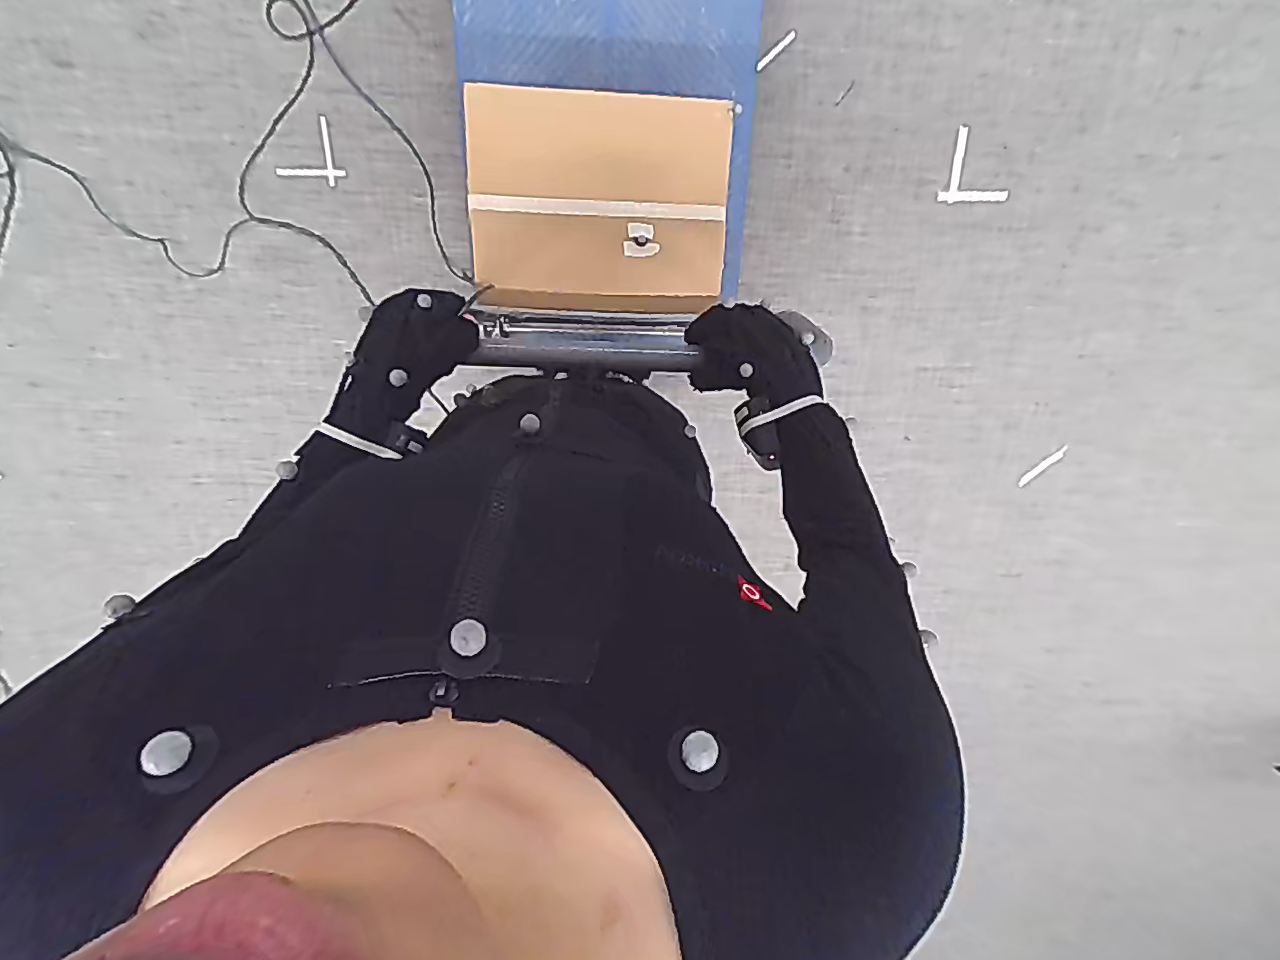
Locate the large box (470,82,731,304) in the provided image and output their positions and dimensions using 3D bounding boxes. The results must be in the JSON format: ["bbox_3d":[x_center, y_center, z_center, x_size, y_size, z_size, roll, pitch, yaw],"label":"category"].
[{"bbox_3d":[-0.073,-0.496,1.008,0.408,0.320,0.320,0,110,-5],"label":"large box"}]
